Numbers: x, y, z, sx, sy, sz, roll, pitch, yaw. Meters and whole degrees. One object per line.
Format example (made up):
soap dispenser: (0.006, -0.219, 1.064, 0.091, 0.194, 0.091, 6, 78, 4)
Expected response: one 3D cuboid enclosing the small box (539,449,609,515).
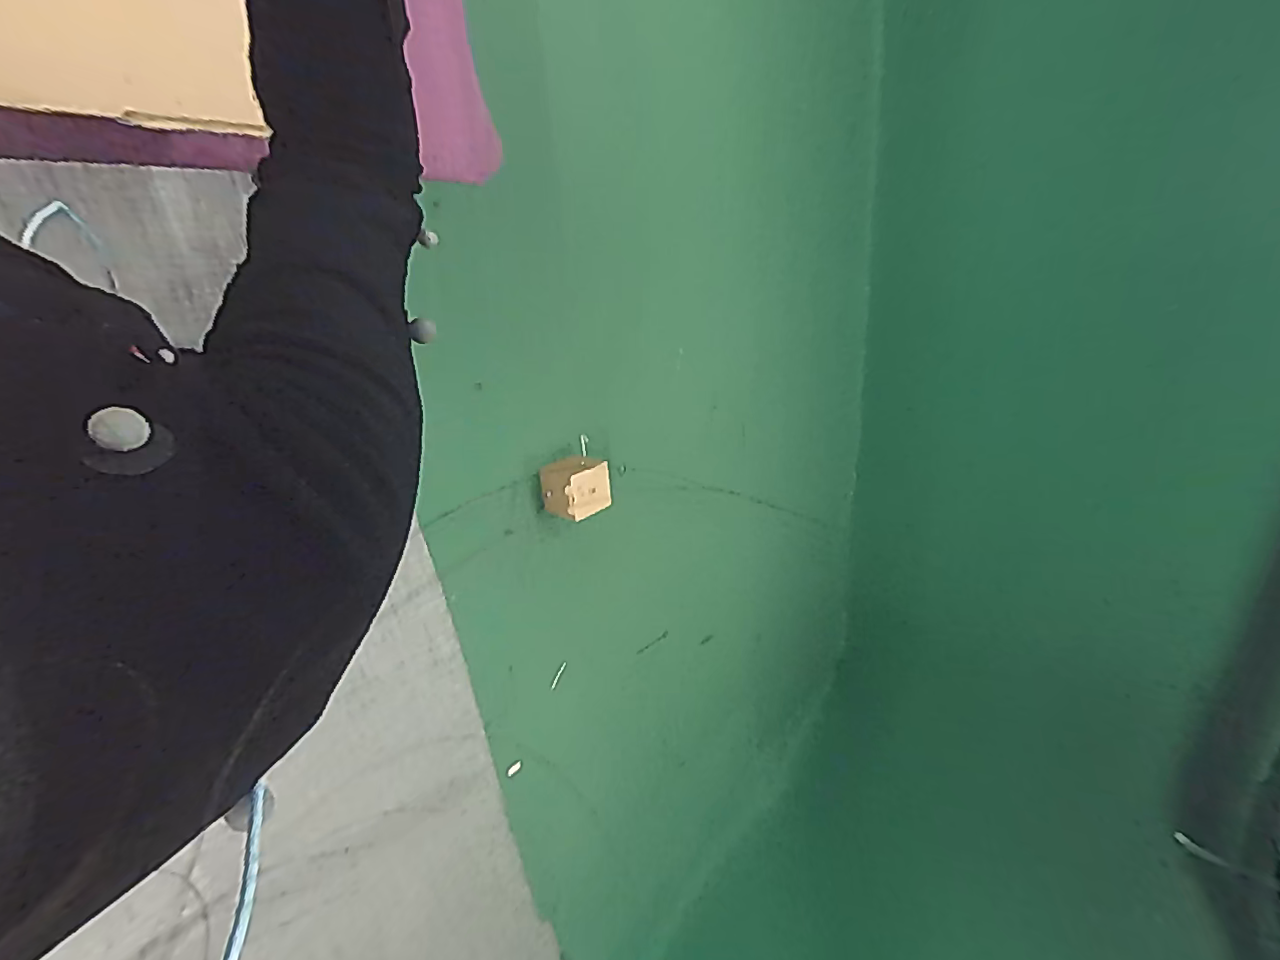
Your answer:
small box: (-0.230, 0.000, 1.907, 0.179, 0.176, 0.168, -24, 120, -41)
